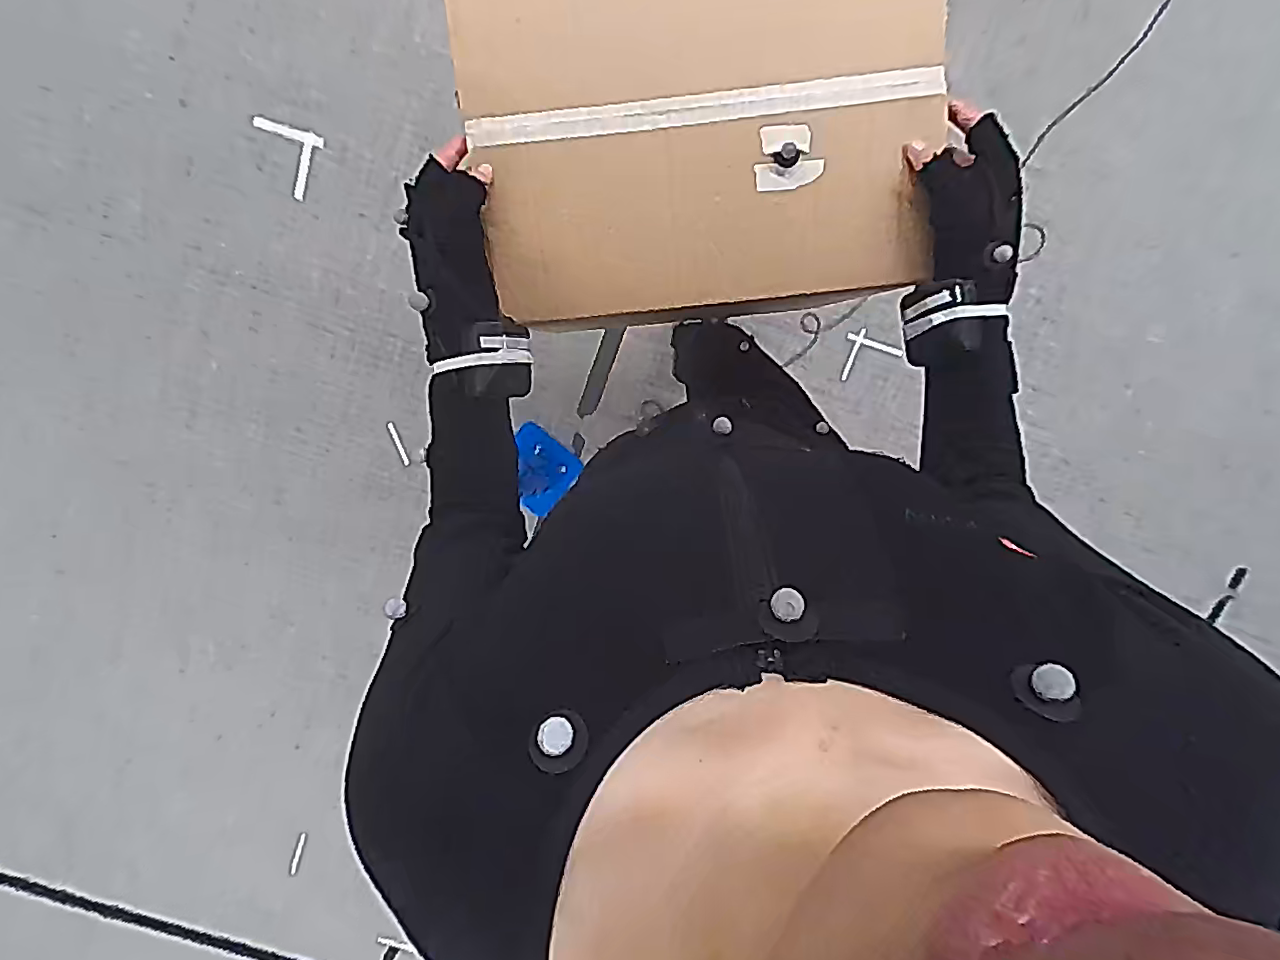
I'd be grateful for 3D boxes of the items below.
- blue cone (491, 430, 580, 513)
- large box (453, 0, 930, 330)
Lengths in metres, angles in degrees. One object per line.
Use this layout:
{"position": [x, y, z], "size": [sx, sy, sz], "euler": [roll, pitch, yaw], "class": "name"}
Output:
{"position": [-0.285, 0.006, 1.322], "size": [0.193, 0.380, 0.192], "euler": [41, 99, -5], "class": "blue cone"}
{"position": [0.048, -0.358, 0.615], "size": [0.408, 0.320, 0.320], "euler": [-6, 103, 0], "class": "large box"}
